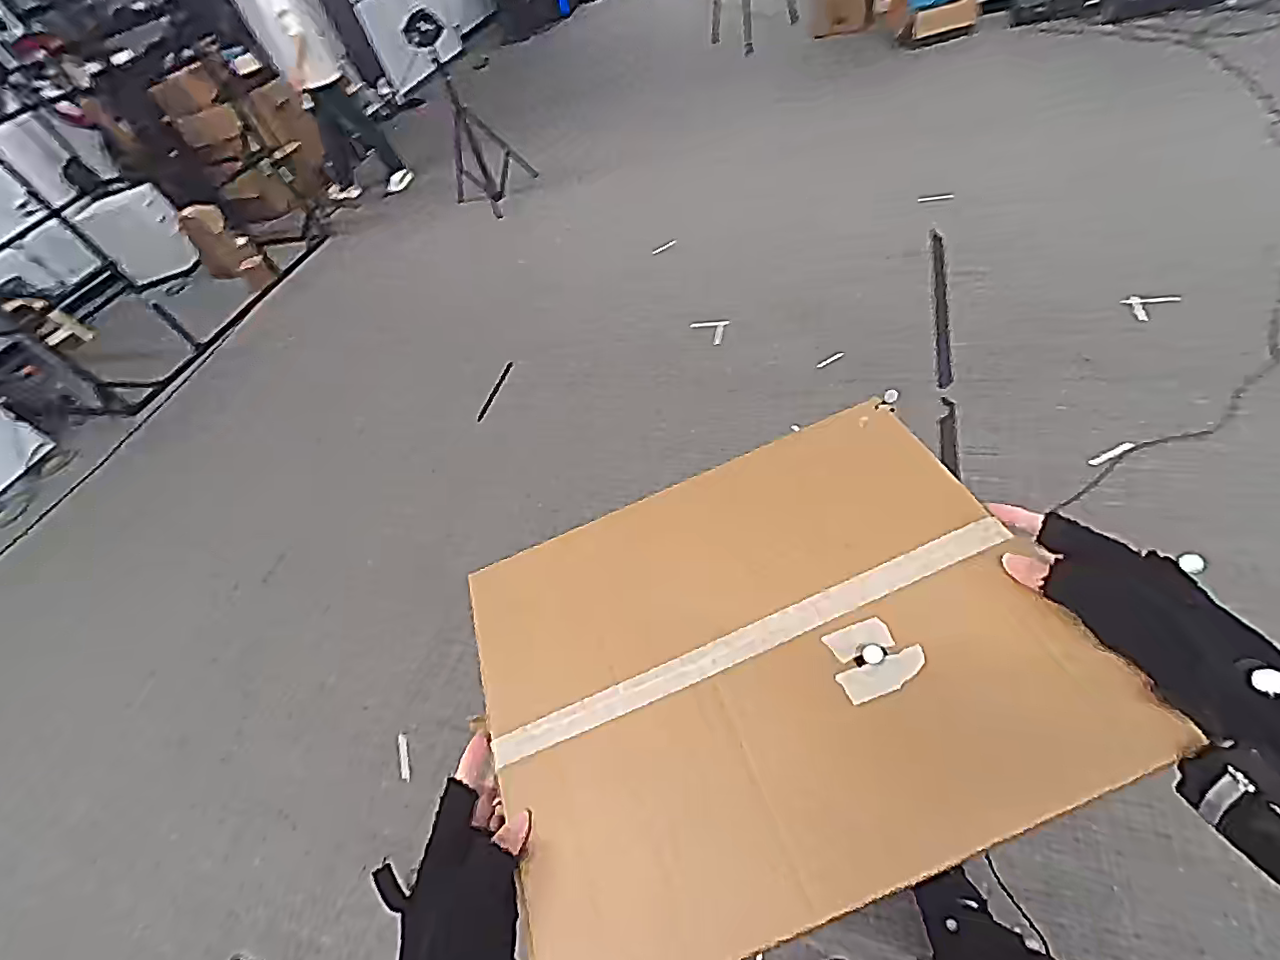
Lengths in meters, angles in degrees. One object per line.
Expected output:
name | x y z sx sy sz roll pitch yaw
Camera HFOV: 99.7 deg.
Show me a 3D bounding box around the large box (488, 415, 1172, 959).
large box | 0.122 0.211 0.523 0.408 0.320 0.320 -23 52 -1
